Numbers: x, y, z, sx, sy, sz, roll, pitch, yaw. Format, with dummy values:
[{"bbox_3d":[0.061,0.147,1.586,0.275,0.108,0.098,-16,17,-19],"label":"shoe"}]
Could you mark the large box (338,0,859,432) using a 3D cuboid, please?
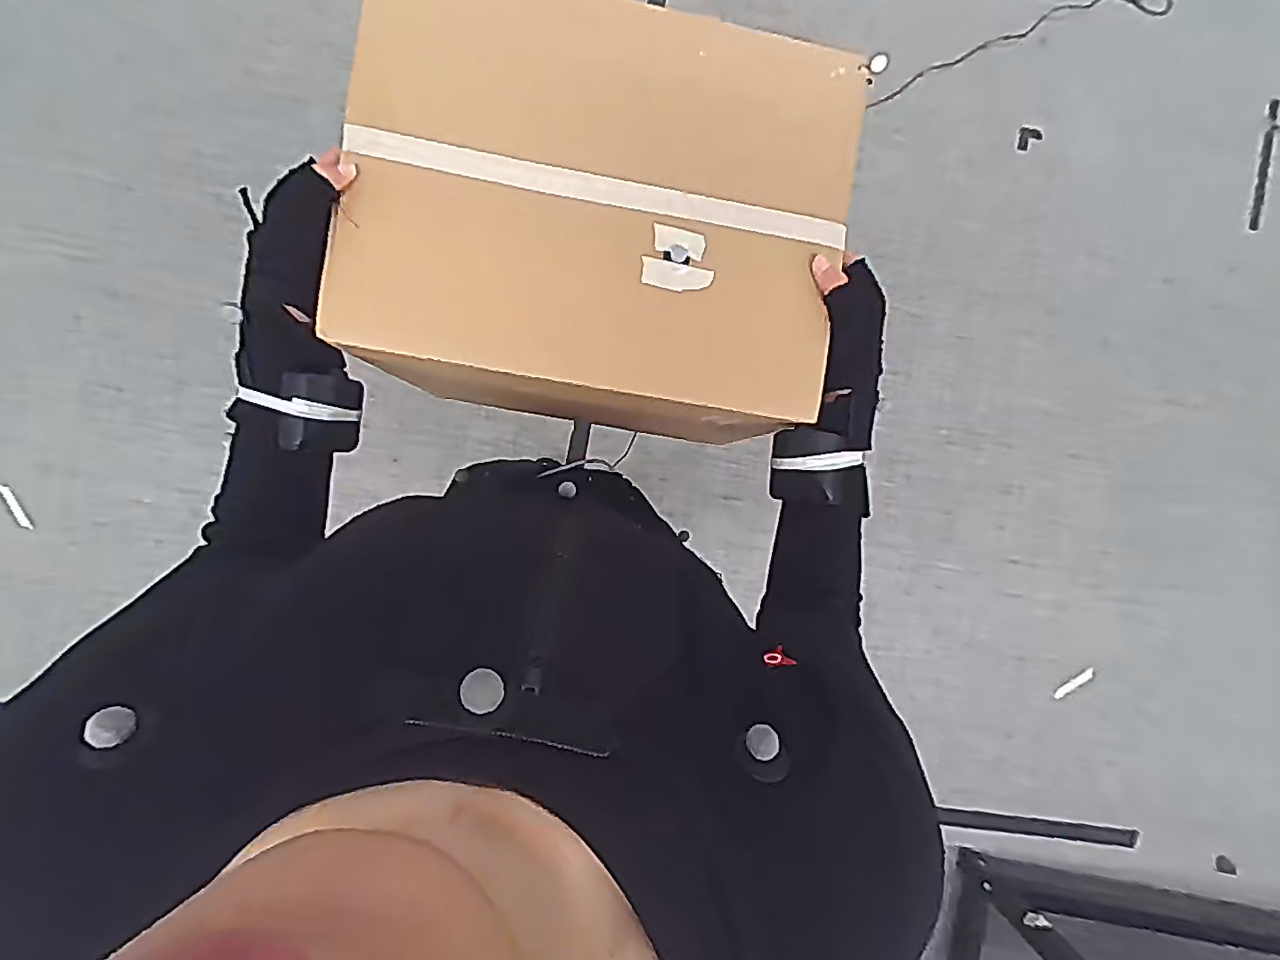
[{"bbox_3d":[-0.042,-0.242,0.594,0.408,0.320,0.320,9,91,-6],"label":"large box"}]
